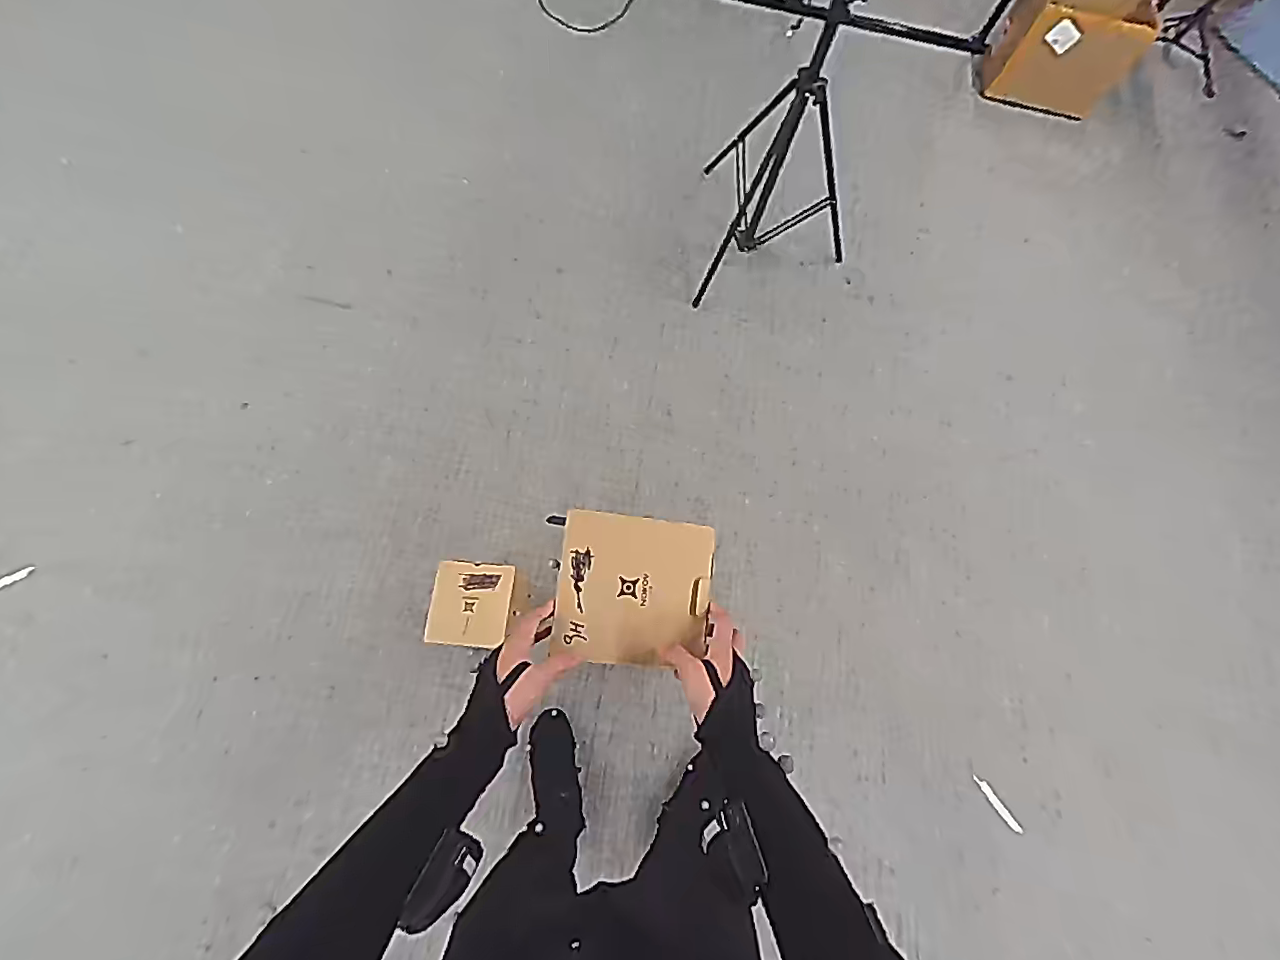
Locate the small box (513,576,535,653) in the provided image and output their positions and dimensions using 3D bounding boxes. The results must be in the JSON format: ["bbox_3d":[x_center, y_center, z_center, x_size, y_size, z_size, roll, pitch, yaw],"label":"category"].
[{"bbox_3d":[-0.364,0.340,1.373,0.168,0.176,0.179,5,71,-3],"label":"small box"}]

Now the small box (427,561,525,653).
[{"bbox_3d":[-0.358,0.290,1.218,0.168,0.176,0.179,6,71,-2],"label":"small box"}]

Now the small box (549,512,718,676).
[{"bbox_3d":[-0.016,0.141,0.682,0.179,0.176,0.168,9,77,-8],"label":"small box"}]
